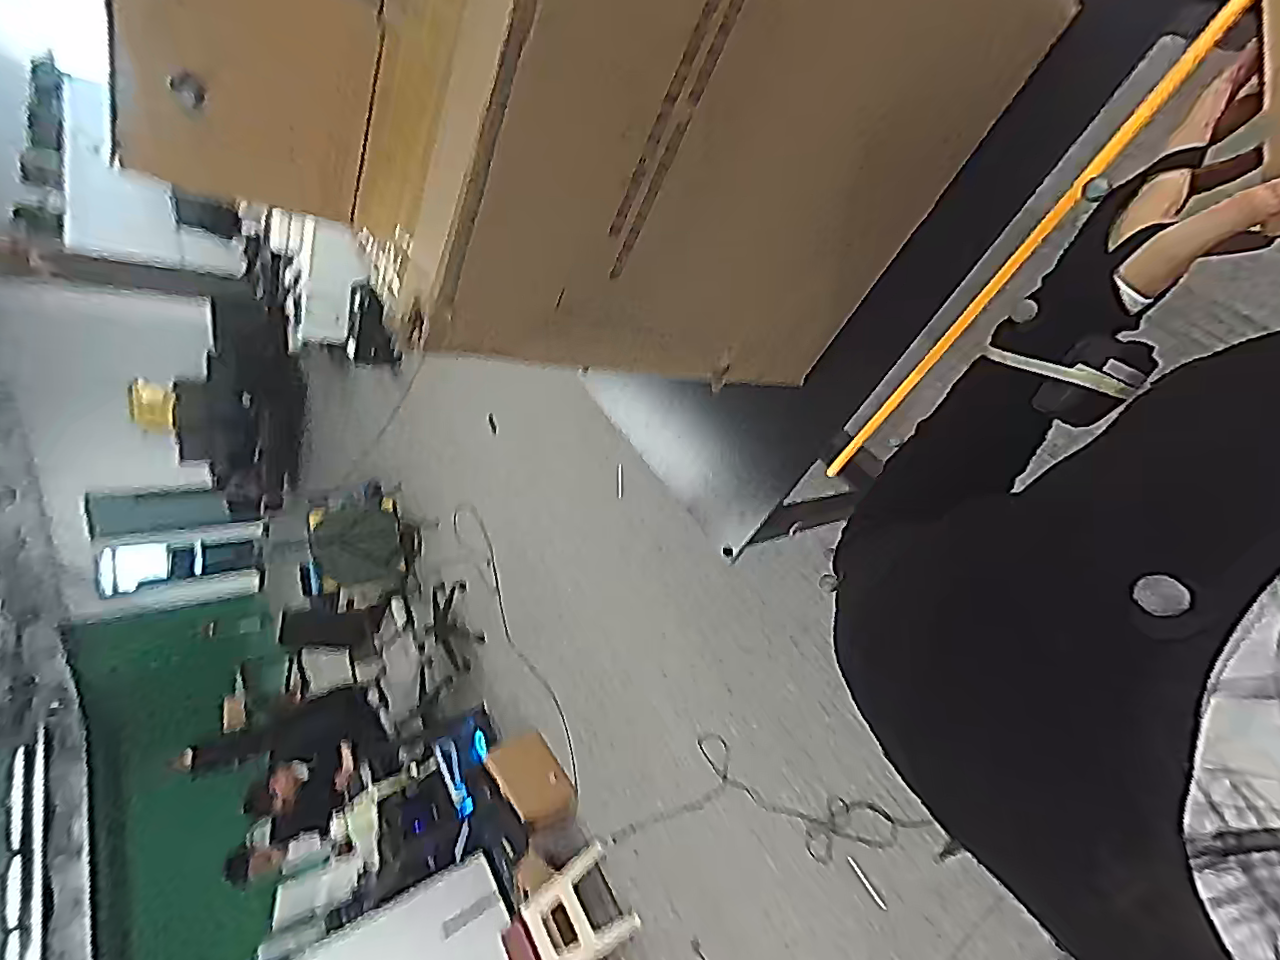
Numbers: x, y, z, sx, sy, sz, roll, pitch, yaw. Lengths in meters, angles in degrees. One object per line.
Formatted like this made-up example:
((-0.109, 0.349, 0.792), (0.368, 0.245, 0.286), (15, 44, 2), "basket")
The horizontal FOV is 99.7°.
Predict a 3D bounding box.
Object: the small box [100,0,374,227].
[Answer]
((-0.351, -0.355, 0.476), (0.168, 0.176, 0.179), (53, 128, 30), "small box")
